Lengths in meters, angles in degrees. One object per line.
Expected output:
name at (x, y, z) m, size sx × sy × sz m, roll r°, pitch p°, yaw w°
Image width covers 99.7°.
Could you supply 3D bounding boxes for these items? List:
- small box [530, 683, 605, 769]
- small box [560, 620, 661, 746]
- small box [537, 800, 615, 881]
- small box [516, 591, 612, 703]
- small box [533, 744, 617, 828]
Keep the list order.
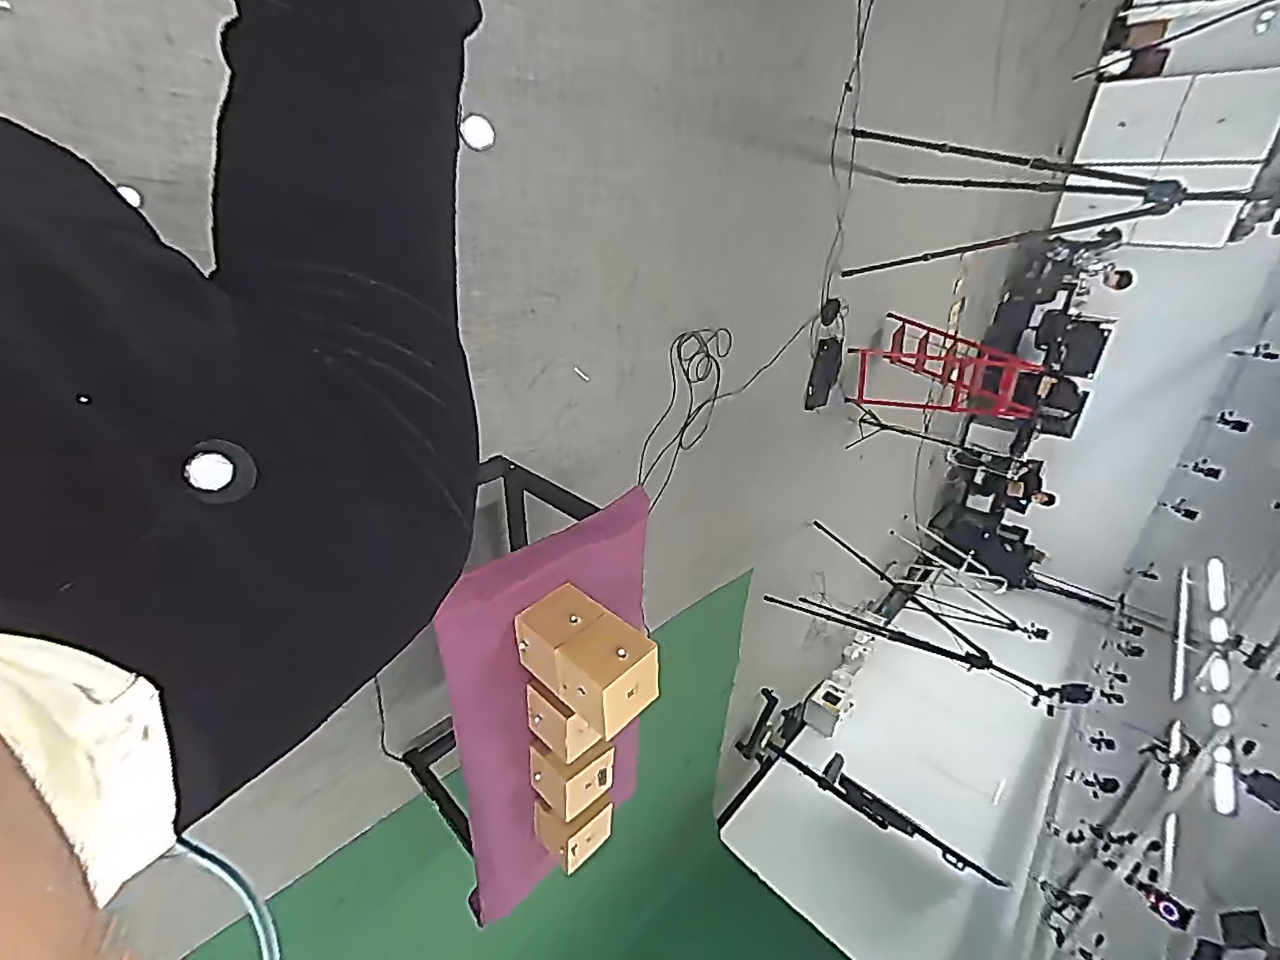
small box at (-0.178, 0.628, 1.472) m, size 0.179 × 0.176 × 0.168 m, roll -22°, pitch 123°, yaw -42°
small box at (-0.071, 0.459, 1.251) m, size 0.179 × 0.176 × 0.168 m, roll -28°, pitch 127°, yaw -40°
small box at (-0.197, 1.065, 1.670) m, size 0.179 × 0.176 × 0.168 m, roll -21°, pitch 123°, yaw -43°
small box at (-0.185, 0.408, 1.353) m, size 0.179 × 0.176 × 0.168 m, roll -27°, pitch 127°, yaw -39°
small box at (-0.190, 0.843, 1.567) m, size 0.179 × 0.176 × 0.168 m, roll -19°, pitch 122°, yaw -42°
